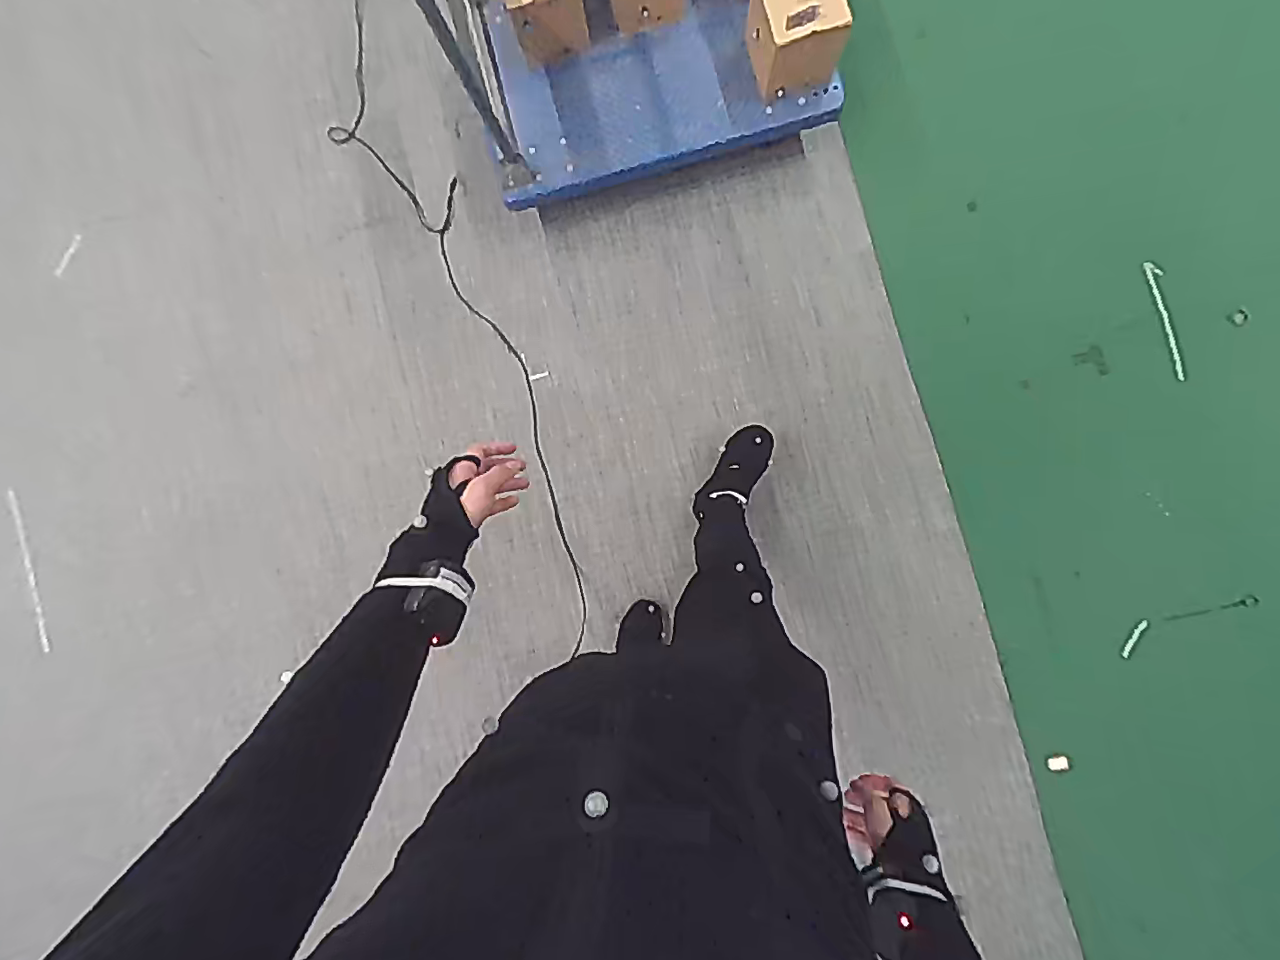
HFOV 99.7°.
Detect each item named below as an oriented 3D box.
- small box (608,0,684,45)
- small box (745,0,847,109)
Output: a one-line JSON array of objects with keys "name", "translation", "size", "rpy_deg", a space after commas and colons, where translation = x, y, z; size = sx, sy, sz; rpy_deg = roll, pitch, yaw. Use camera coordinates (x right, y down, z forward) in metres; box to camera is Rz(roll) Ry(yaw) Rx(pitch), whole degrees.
[{"name": "small box", "translation": [0.004, -1.176, 1.256], "size": [0.168, 0.176, 0.179], "rpy_deg": [-14, 88, 2]}, {"name": "small box", "translation": [0.350, -0.996, 1.241], "size": [0.168, 0.176, 0.179], "rpy_deg": [-15, 86, 2]}]
